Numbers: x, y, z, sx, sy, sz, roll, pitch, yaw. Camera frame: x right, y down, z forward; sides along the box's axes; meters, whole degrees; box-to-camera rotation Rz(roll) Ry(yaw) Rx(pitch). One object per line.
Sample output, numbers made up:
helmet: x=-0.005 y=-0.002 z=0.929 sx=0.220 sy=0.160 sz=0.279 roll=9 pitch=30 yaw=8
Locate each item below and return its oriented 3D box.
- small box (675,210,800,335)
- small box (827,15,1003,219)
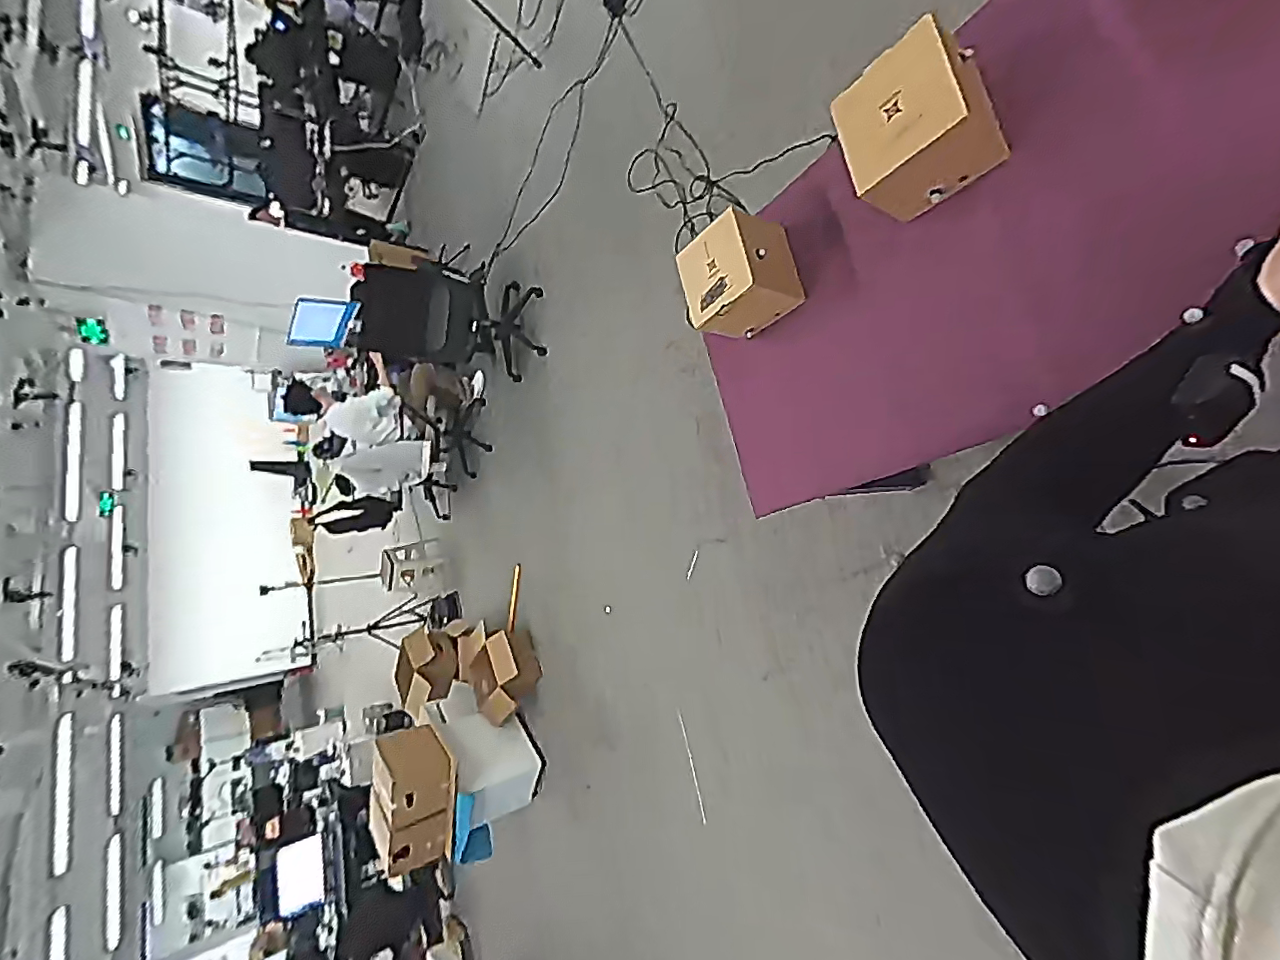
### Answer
small box: x=0.203 y=-0.414 z=1.117 sx=0.168 sy=0.176 sz=0.179 roll=-27 pitch=73 yaw=47
small box: x=0.428 y=-0.546 z=0.843 sx=0.168 sy=0.176 sz=0.179 roll=-25 pitch=74 yaw=49
